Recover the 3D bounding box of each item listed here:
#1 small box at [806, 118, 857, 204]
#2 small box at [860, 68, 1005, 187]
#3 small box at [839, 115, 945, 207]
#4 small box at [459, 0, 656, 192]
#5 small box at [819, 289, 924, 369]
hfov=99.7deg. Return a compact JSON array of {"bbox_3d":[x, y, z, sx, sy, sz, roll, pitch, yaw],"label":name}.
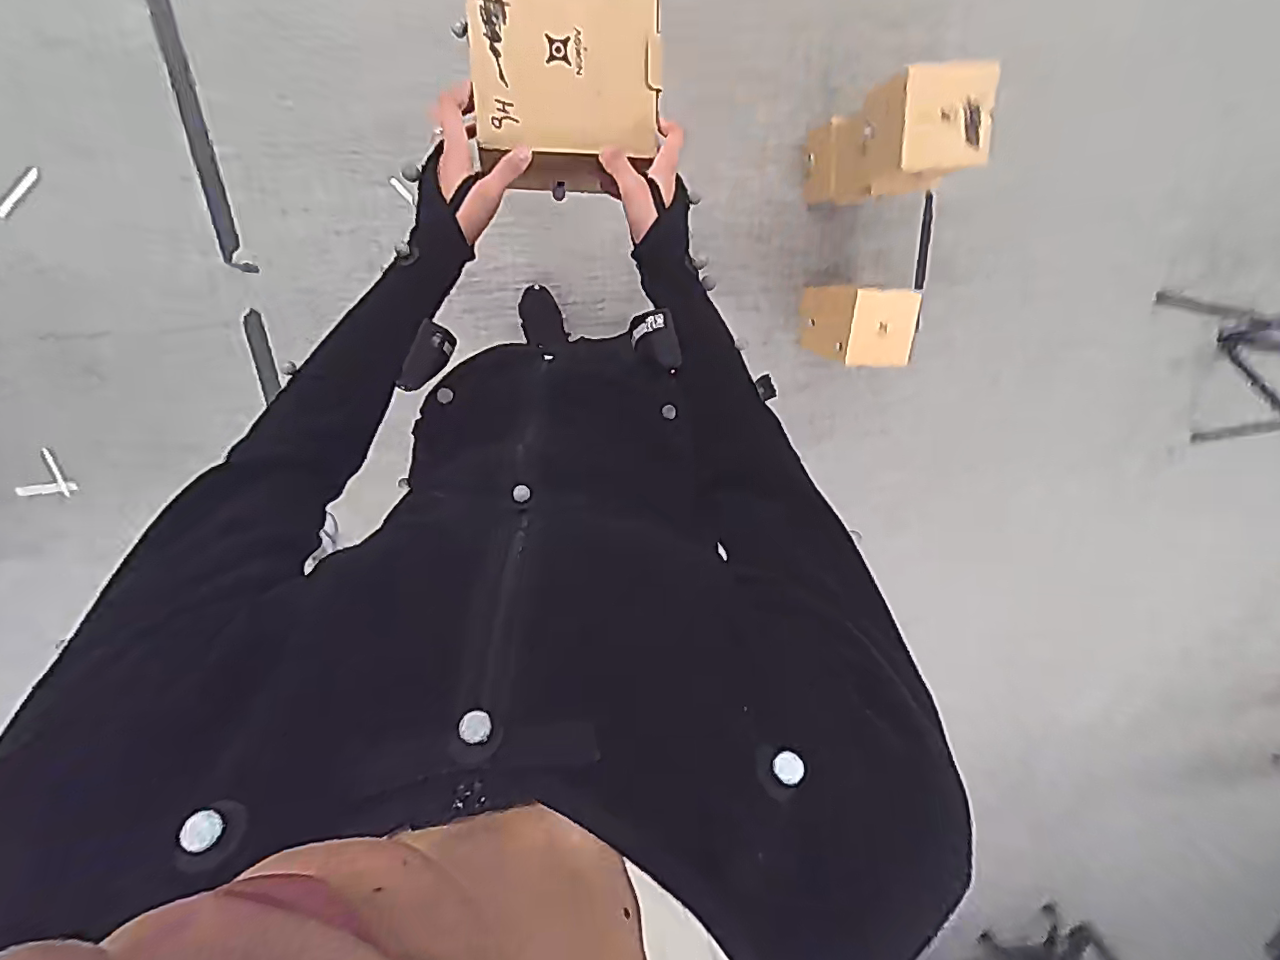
[{"bbox_3d":[0.539,-0.800,1.360,0.179,0.176,0.168,-8,112,-4],"label":"small box"},{"bbox_3d":[0.559,-0.679,1.055,0.179,0.176,0.168,-6,111,-5],"label":"small box"},{"bbox_3d":[0.563,-0.727,1.214,0.168,0.176,0.179,-9,112,-4],"label":"small box"},{"bbox_3d":[-0.090,-0.410,0.564,0.179,0.176,0.168,-5,108,-13],"label":"small box"},{"bbox_3d":[0.570,-0.382,1.356,0.168,0.176,0.179,0,112,-8],"label":"small box"}]
